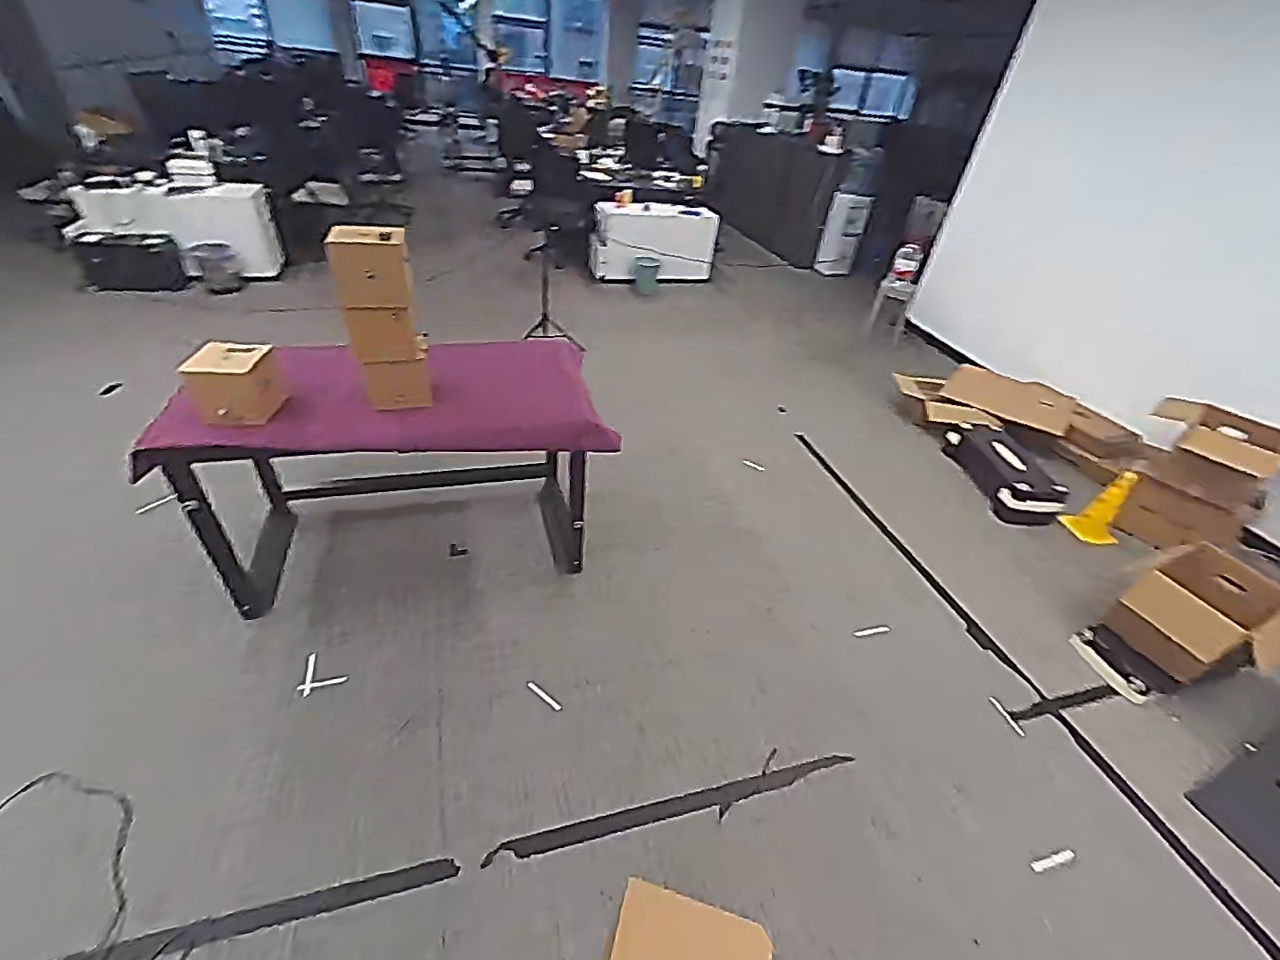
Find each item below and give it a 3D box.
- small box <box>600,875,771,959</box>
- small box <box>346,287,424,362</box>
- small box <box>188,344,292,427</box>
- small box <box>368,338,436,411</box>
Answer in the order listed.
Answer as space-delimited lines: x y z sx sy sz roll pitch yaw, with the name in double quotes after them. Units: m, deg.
0.033 0.589 0.592 0.179 0.176 0.168 16 29 6 "small box"
-0.734 -0.450 1.572 0.179 0.176 0.168 -7 39 -18 "small box"
-1.124 -0.270 1.541 0.168 0.176 0.179 1 39 -9 "small box"
-0.735 -0.330 1.684 0.179 0.176 0.168 -7 38 -19 "small box"
